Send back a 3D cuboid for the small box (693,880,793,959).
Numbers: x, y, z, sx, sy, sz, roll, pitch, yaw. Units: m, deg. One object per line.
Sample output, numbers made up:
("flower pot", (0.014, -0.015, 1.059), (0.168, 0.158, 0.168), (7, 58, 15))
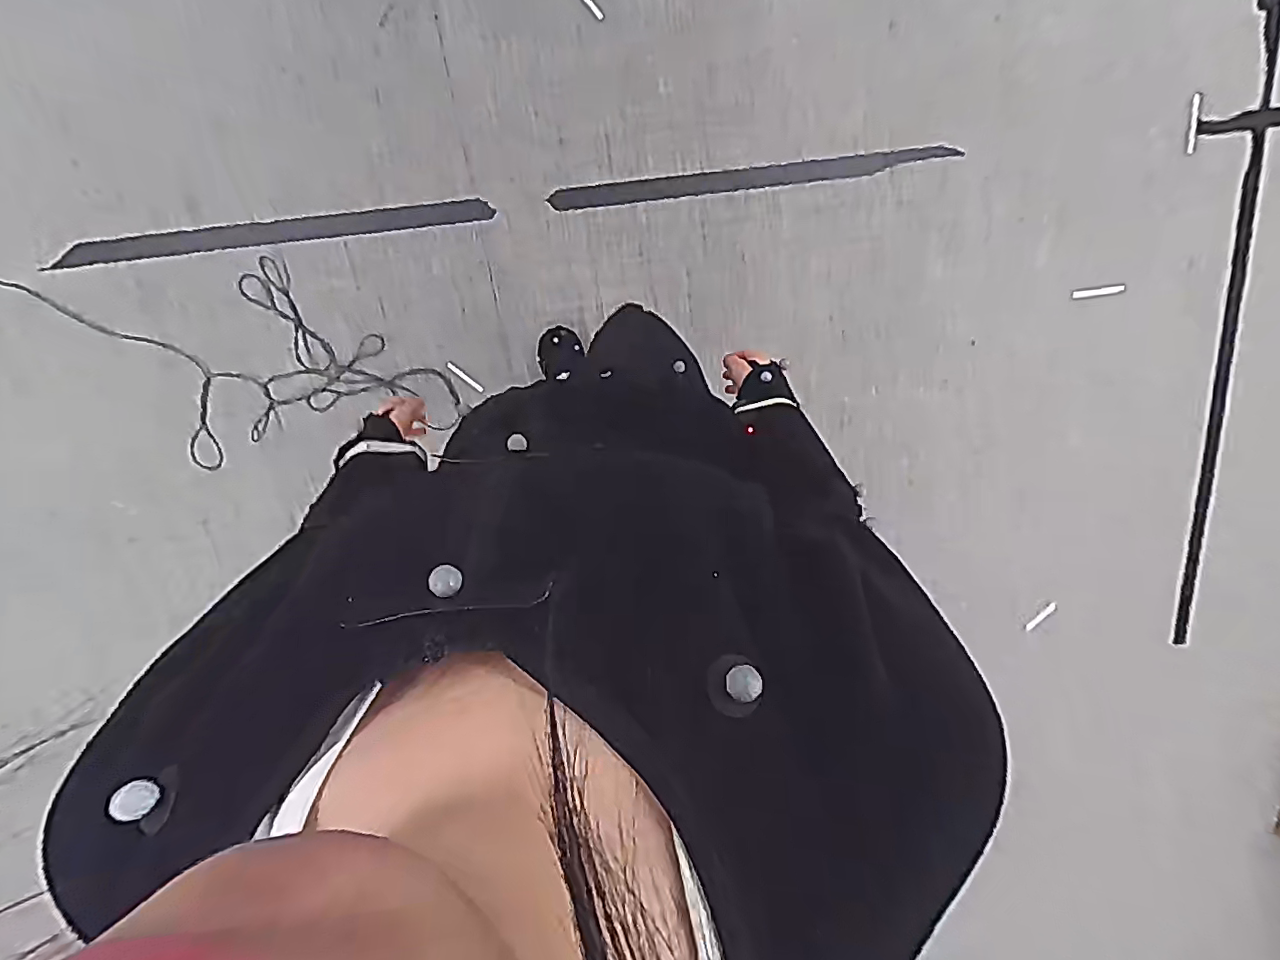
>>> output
("small box", (0.205, 0.962, 1.111), (0.168, 0.176, 0.179), (-4, 106, -4))
